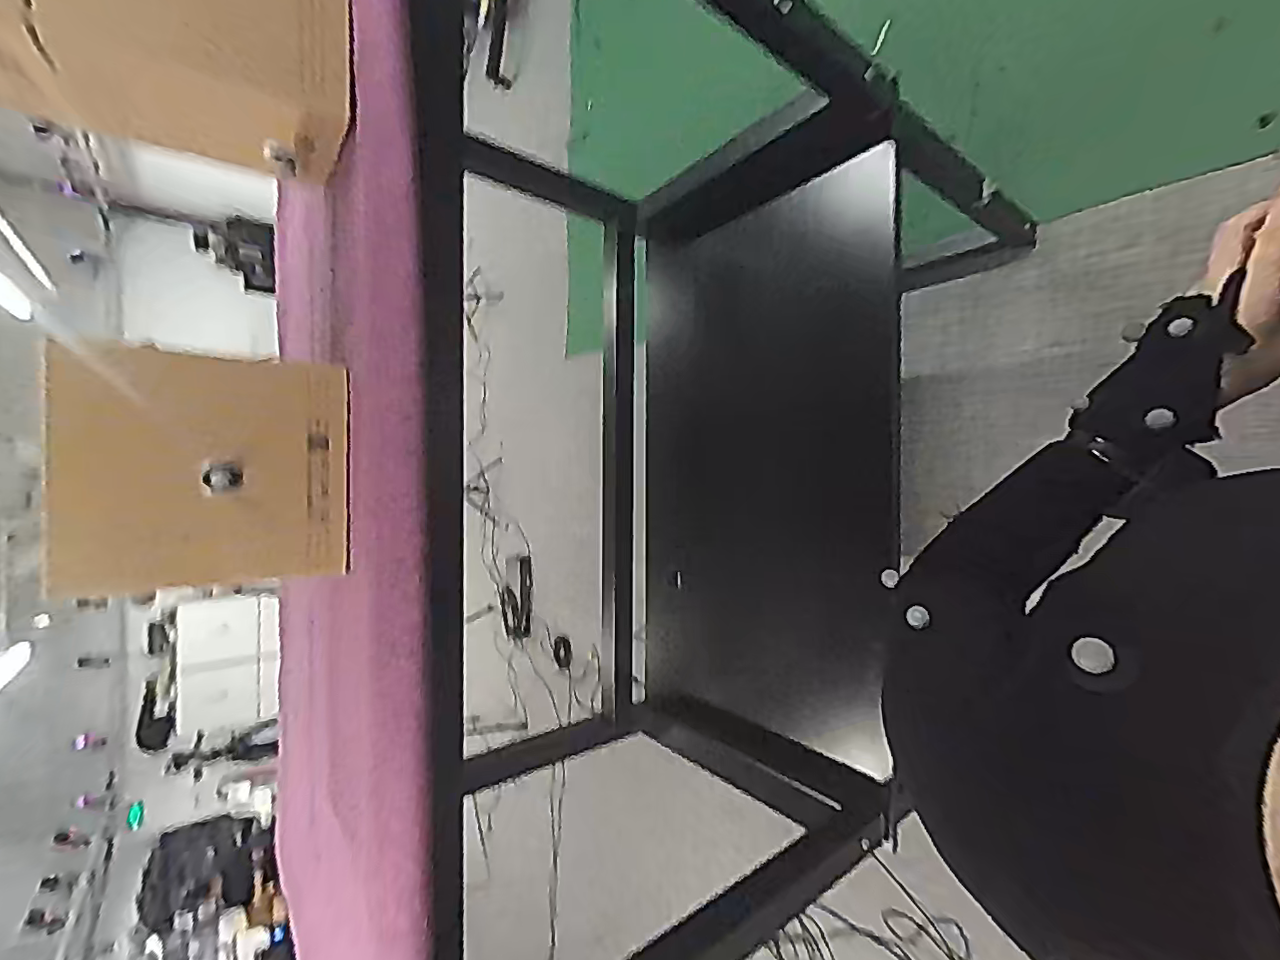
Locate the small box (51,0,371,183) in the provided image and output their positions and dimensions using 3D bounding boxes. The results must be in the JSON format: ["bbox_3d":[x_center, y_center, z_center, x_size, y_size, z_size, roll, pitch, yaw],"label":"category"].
[{"bbox_3d":[-0.312,-0.362,0.411,0.168,0.176,0.179,9,100,54],"label":"small box"}]

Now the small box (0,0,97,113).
[{"bbox_3d":[-0.447,-0.355,0.321,0.168,0.176,0.179,14,103,53],"label":"small box"}]

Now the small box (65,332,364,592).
[{"bbox_3d":[-0.335,-0.014,0.446,0.179,0.176,0.168,1,91,52],"label":"small box"}]
